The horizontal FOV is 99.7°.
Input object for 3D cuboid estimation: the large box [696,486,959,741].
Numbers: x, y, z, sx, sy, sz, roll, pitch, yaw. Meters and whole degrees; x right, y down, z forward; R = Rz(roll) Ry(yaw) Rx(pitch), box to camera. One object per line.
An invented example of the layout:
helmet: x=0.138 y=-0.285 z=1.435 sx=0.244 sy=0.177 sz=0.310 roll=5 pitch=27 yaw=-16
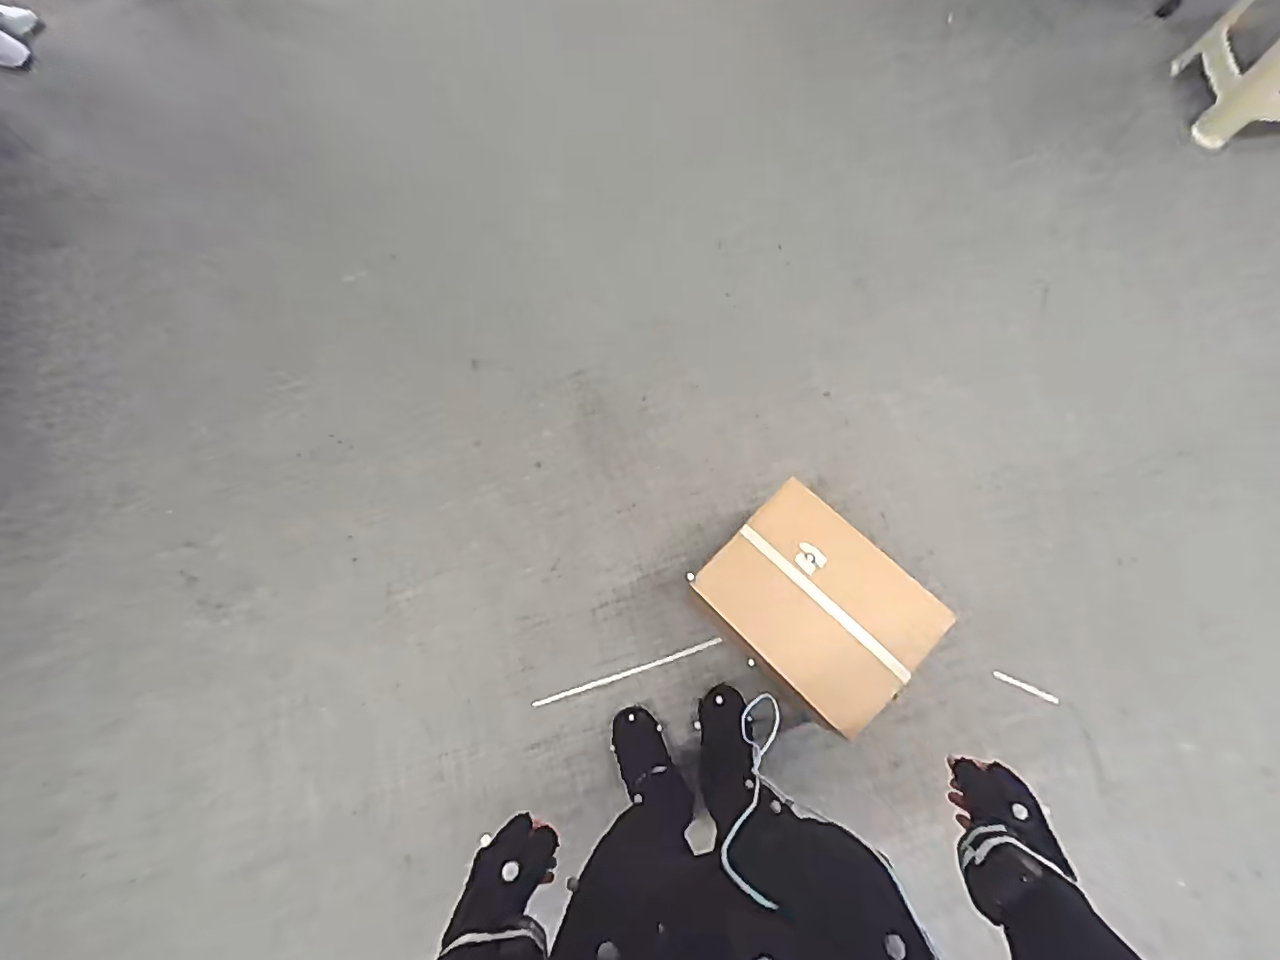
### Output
large box: x=0.374 y=0.286 z=1.188 sx=0.320 sy=0.320 sz=0.408 roll=-44 pitch=74 yaw=-9
